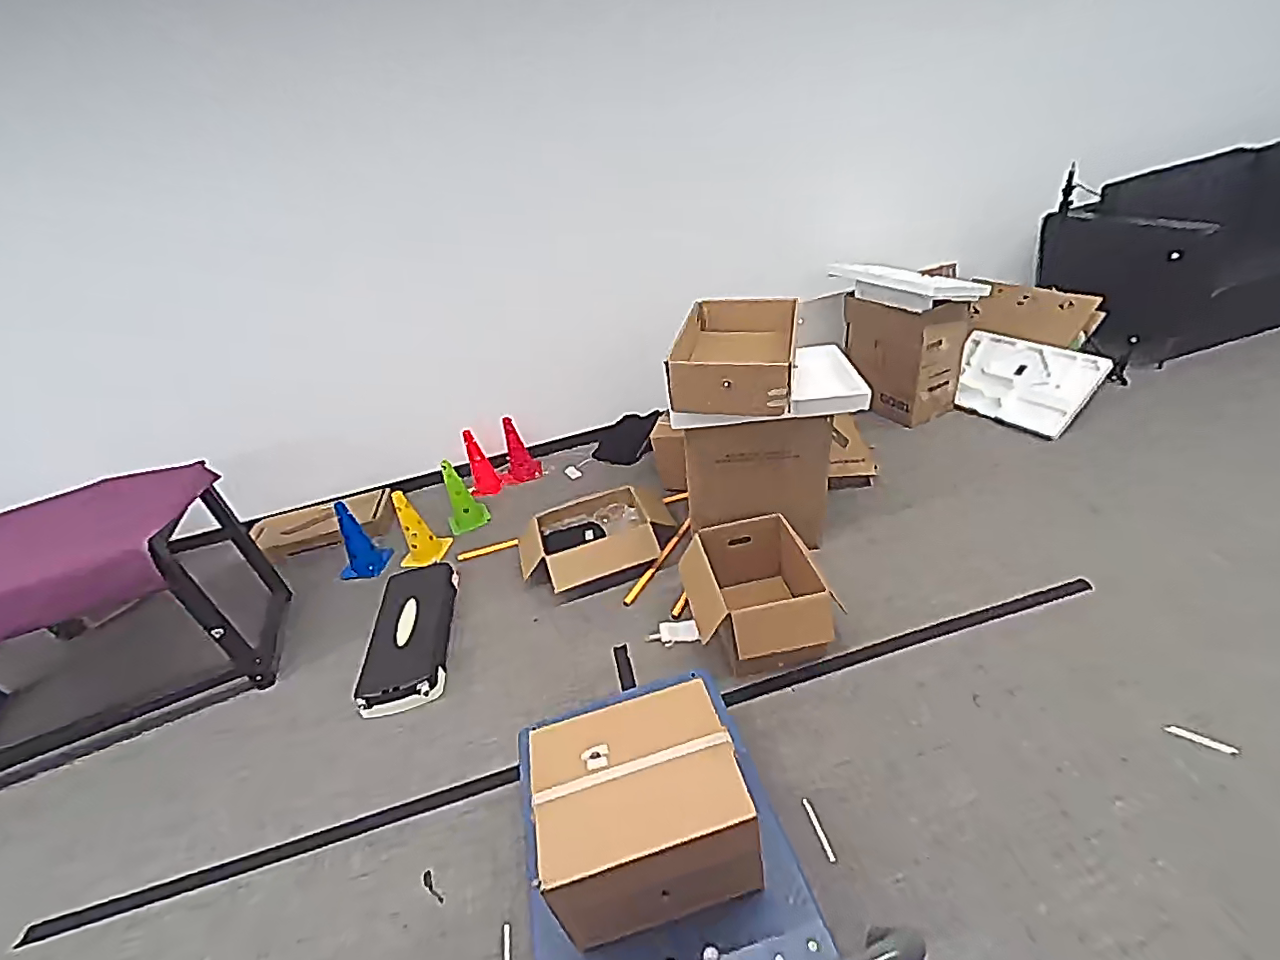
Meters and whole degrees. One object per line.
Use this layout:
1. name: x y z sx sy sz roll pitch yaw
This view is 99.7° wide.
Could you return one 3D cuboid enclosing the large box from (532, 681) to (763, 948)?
1. large box: 0.014 0.711 1.171 0.408 0.320 0.320 -16 32 -6
